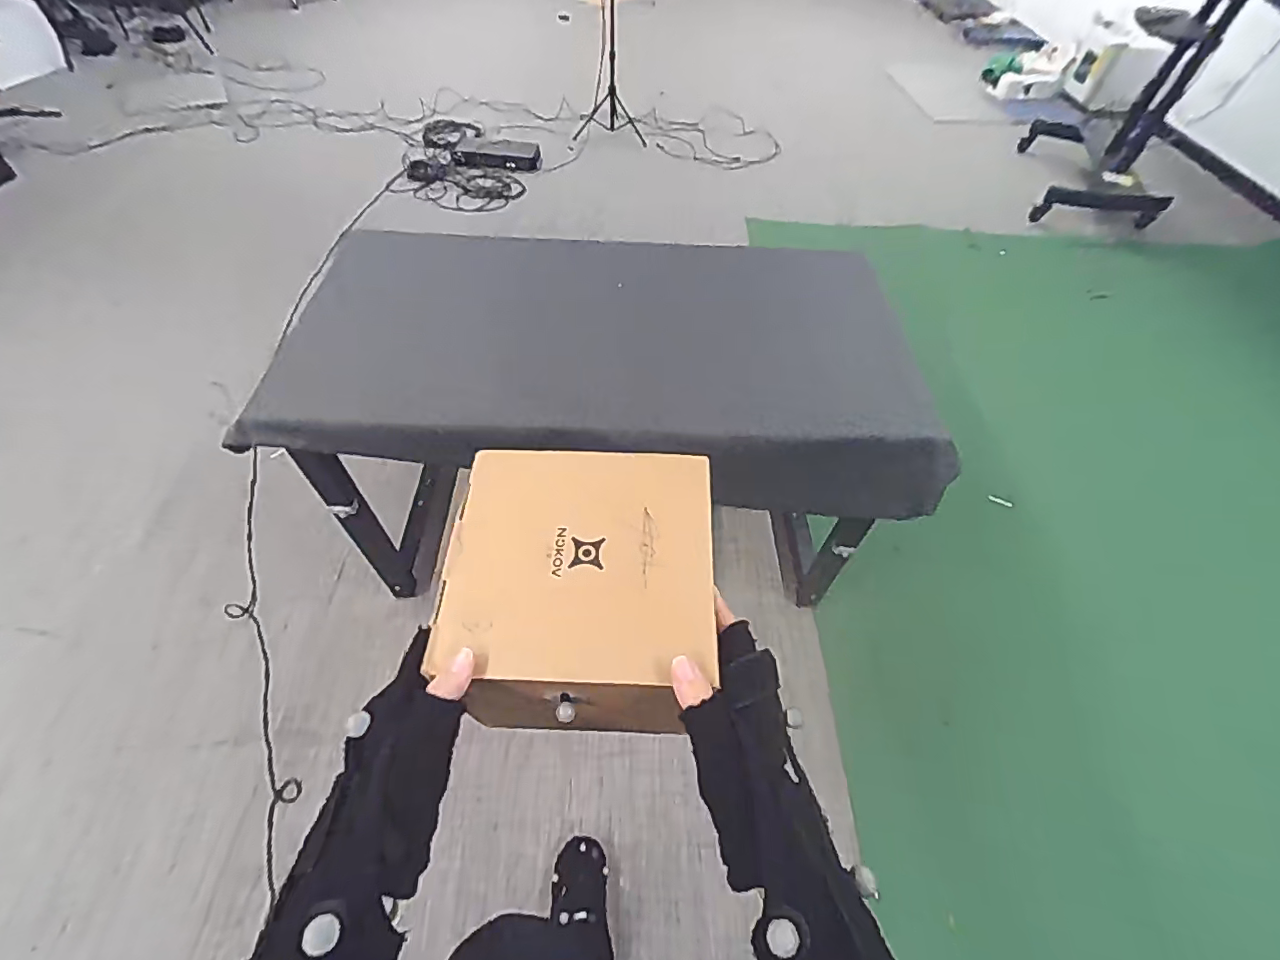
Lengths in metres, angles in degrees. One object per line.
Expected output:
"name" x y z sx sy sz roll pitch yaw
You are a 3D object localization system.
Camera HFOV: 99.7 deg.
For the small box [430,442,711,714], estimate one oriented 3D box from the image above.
"small box" -0.041 0.086 0.438 0.179 0.176 0.168 2 57 0
